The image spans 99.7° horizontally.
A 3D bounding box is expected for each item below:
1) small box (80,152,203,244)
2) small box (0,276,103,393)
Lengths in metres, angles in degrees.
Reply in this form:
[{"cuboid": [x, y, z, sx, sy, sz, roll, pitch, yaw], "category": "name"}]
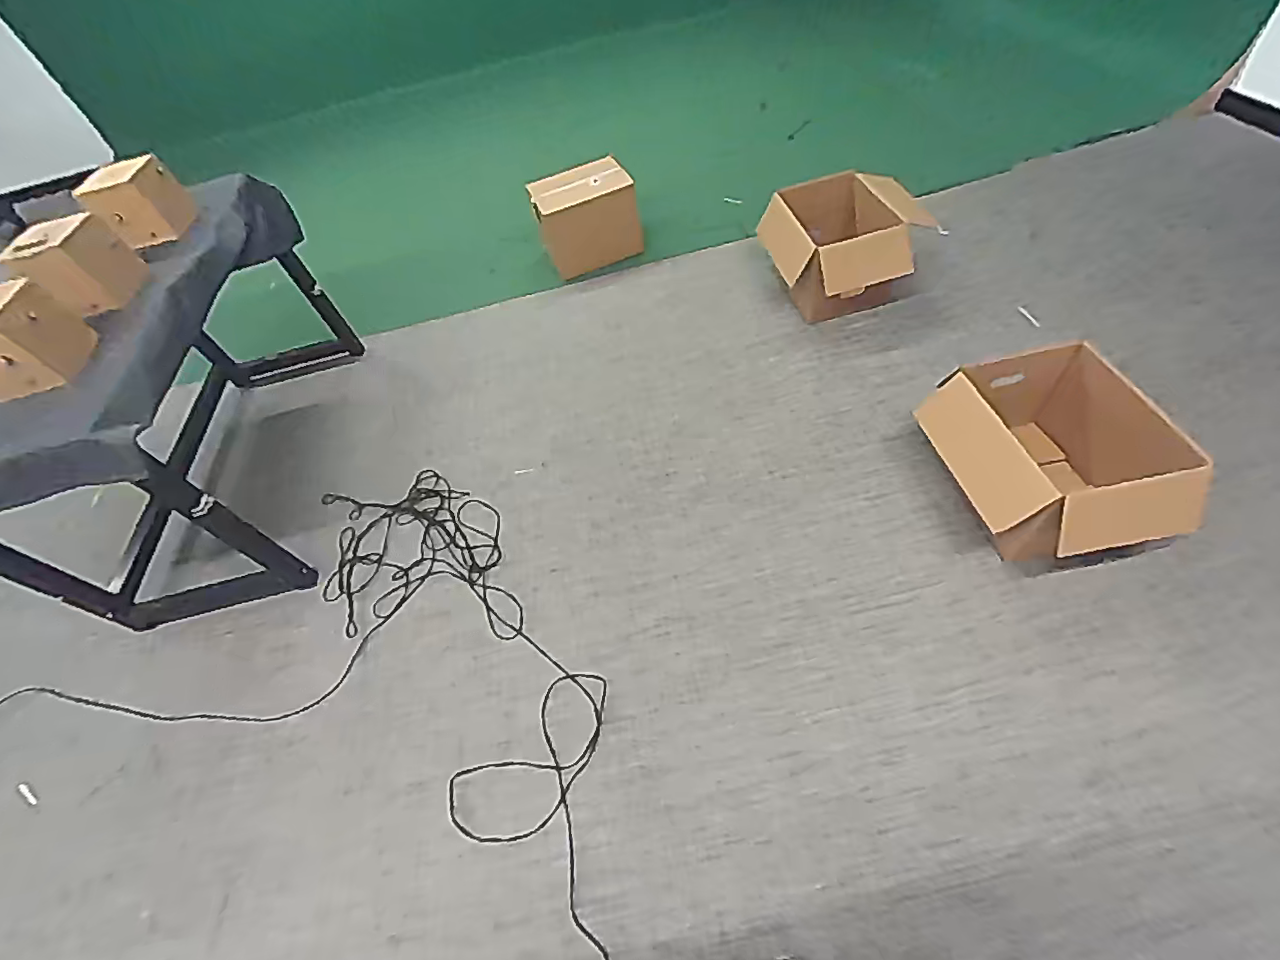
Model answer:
[{"cuboid": [-1.417, -0.800, 1.553, 0.168, 0.176, 0.179, -13, 52, 3], "category": "small box"}, {"cuboid": [-1.350, -0.309, 1.180, 0.168, 0.176, 0.179, -14, 52, 0], "category": "small box"}]
